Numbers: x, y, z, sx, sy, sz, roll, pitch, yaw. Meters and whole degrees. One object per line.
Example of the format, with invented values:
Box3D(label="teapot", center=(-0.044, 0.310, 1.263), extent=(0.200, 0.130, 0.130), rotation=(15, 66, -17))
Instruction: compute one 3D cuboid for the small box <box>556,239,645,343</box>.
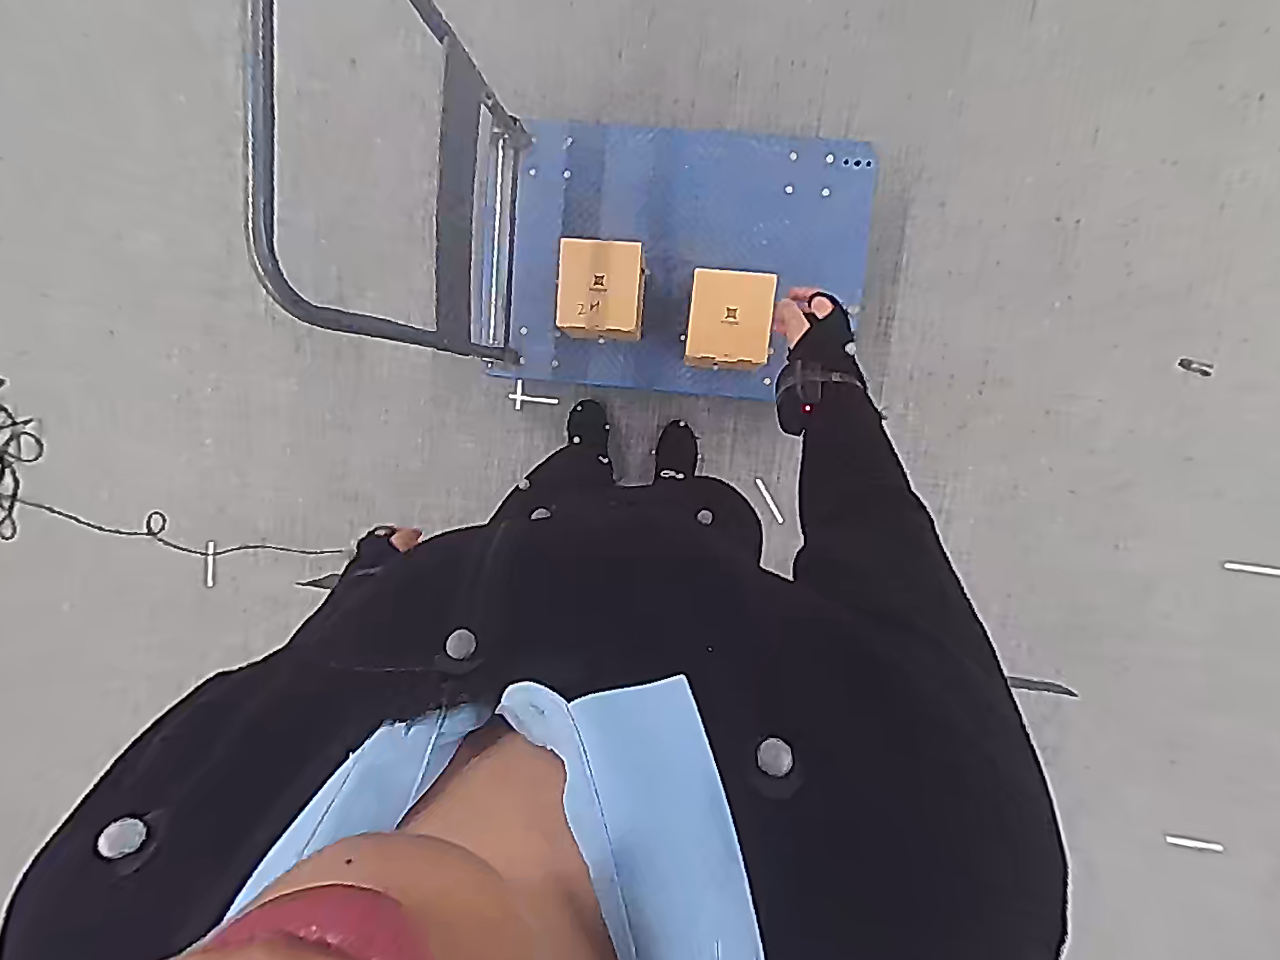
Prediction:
Box3D(label="small box", center=(-0.079, -0.400, 1.167), extent=(0.168, 0.176, 0.179), rotation=(5, 98, 3))

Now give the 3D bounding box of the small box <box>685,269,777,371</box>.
Box3D(label="small box", center=(0.187, -0.335, 1.160), extent=(0.168, 0.176, 0.179), rotation=(6, 98, 3))
